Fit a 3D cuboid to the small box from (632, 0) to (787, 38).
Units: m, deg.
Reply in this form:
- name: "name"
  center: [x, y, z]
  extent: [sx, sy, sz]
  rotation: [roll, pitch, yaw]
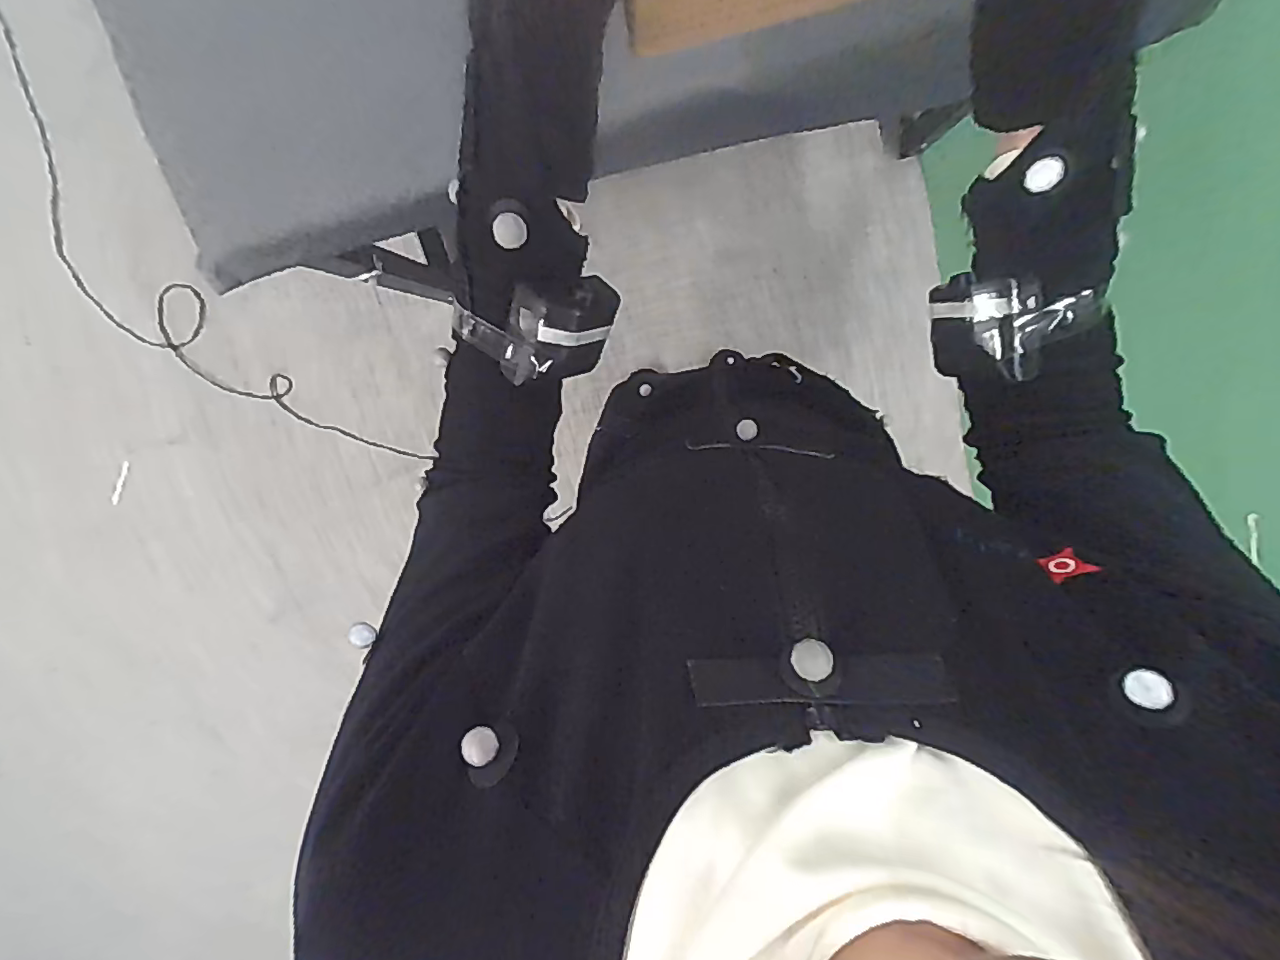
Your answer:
- name: "small box"
  center: [0.062, -0.288, 0.168]
  extent: [0.179, 0.176, 0.168]
  rotation: [-12, 102, 5]
